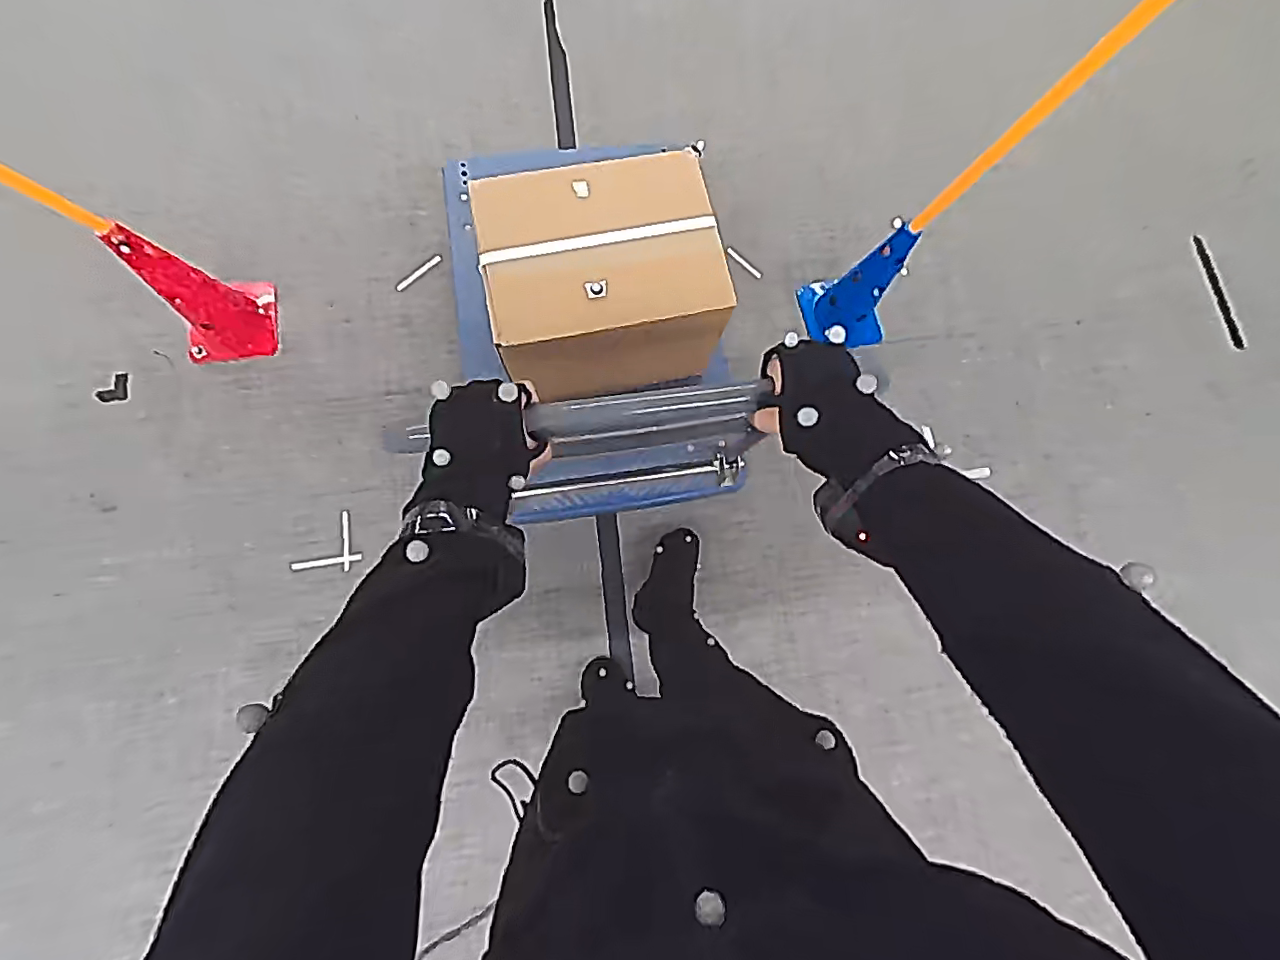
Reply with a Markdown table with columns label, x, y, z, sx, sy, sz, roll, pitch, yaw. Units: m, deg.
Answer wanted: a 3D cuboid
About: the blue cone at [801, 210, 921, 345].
| label | x | y | z | sx | sy | sz | roll | pitch | yaw |
| --- | --- | --- | --- | --- | --- | --- | --- | --- | --- |
| blue cone | 0.554 | -0.492 | 1.294 | 0.193 | 0.380 | 0.192 | -10 | 78 | -7 |
